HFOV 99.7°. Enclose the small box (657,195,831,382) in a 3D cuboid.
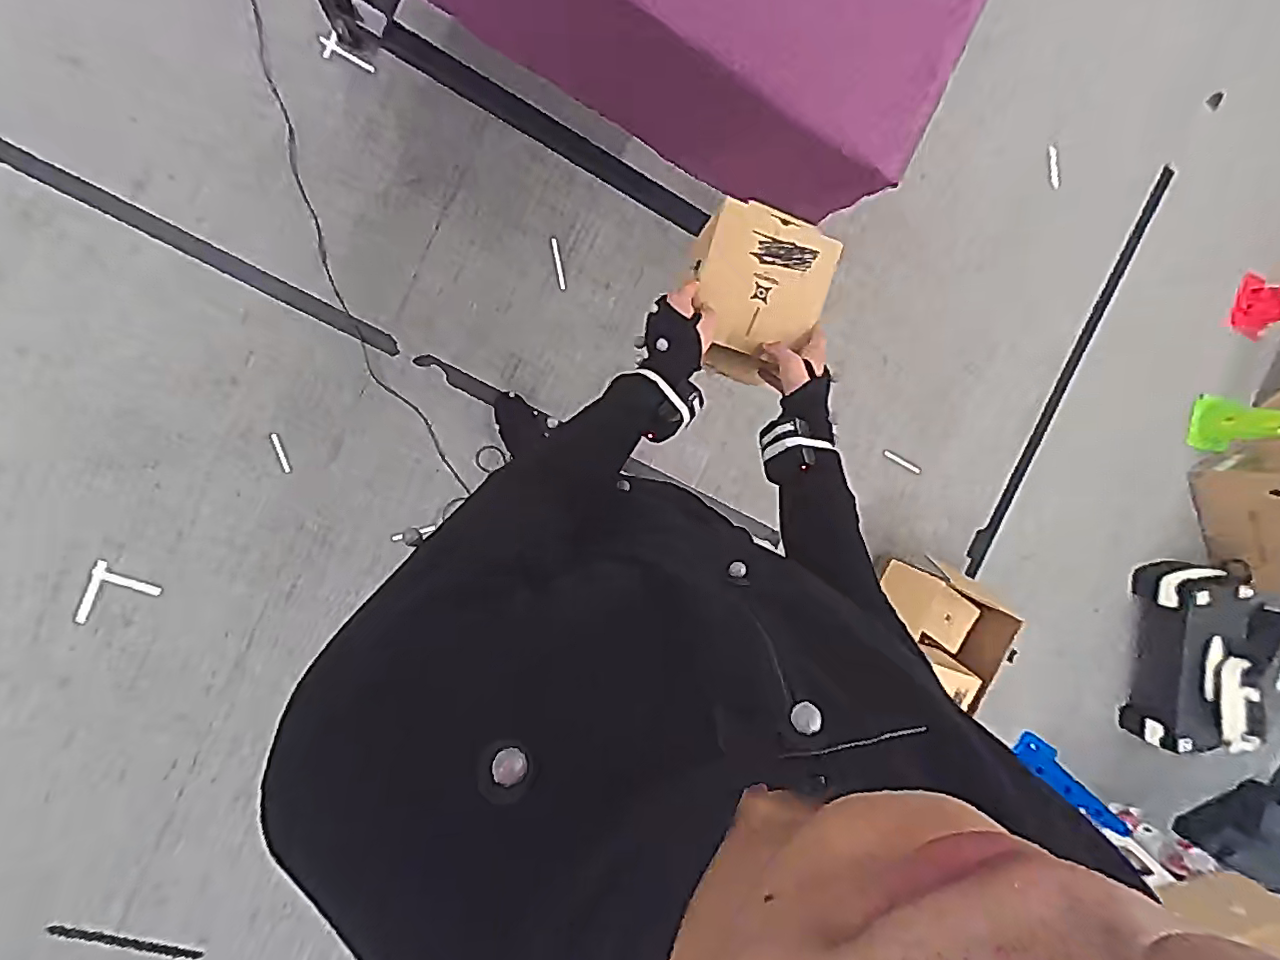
[{"bbox_3d":[0.132,-0.250,0.754,0.168,0.176,0.179,16,91,-9],"label":"small box"}]
